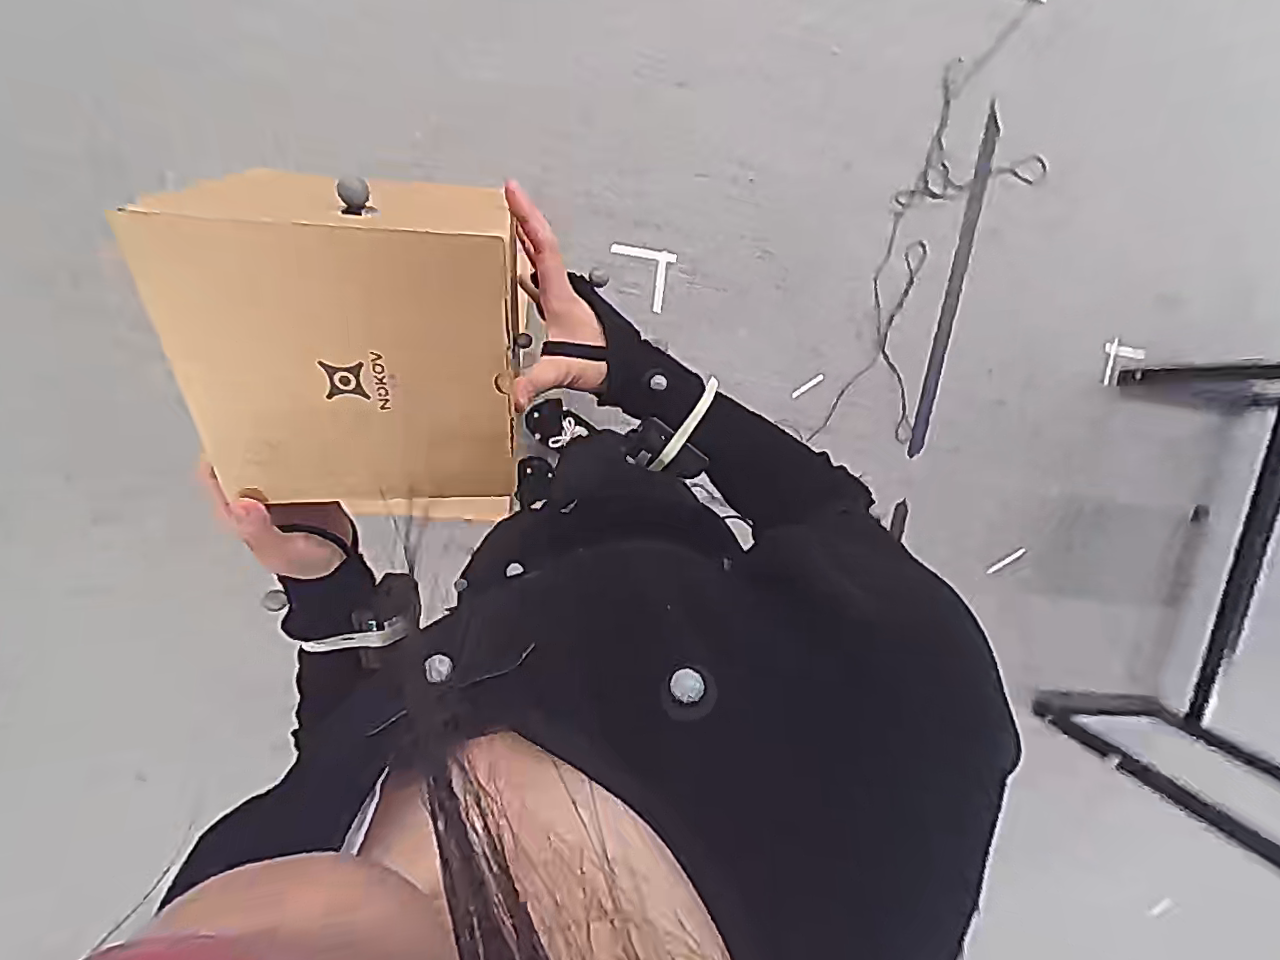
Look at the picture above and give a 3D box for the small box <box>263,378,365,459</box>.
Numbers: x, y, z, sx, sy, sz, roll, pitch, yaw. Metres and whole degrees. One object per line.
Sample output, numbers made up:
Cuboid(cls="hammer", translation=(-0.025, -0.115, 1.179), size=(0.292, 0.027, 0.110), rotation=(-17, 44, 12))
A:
Cuboid(cls="small box", translation=(-0.750, -0.149, 1.253), size=(0.168, 0.176, 0.179), rotation=(1, 99, -10))
